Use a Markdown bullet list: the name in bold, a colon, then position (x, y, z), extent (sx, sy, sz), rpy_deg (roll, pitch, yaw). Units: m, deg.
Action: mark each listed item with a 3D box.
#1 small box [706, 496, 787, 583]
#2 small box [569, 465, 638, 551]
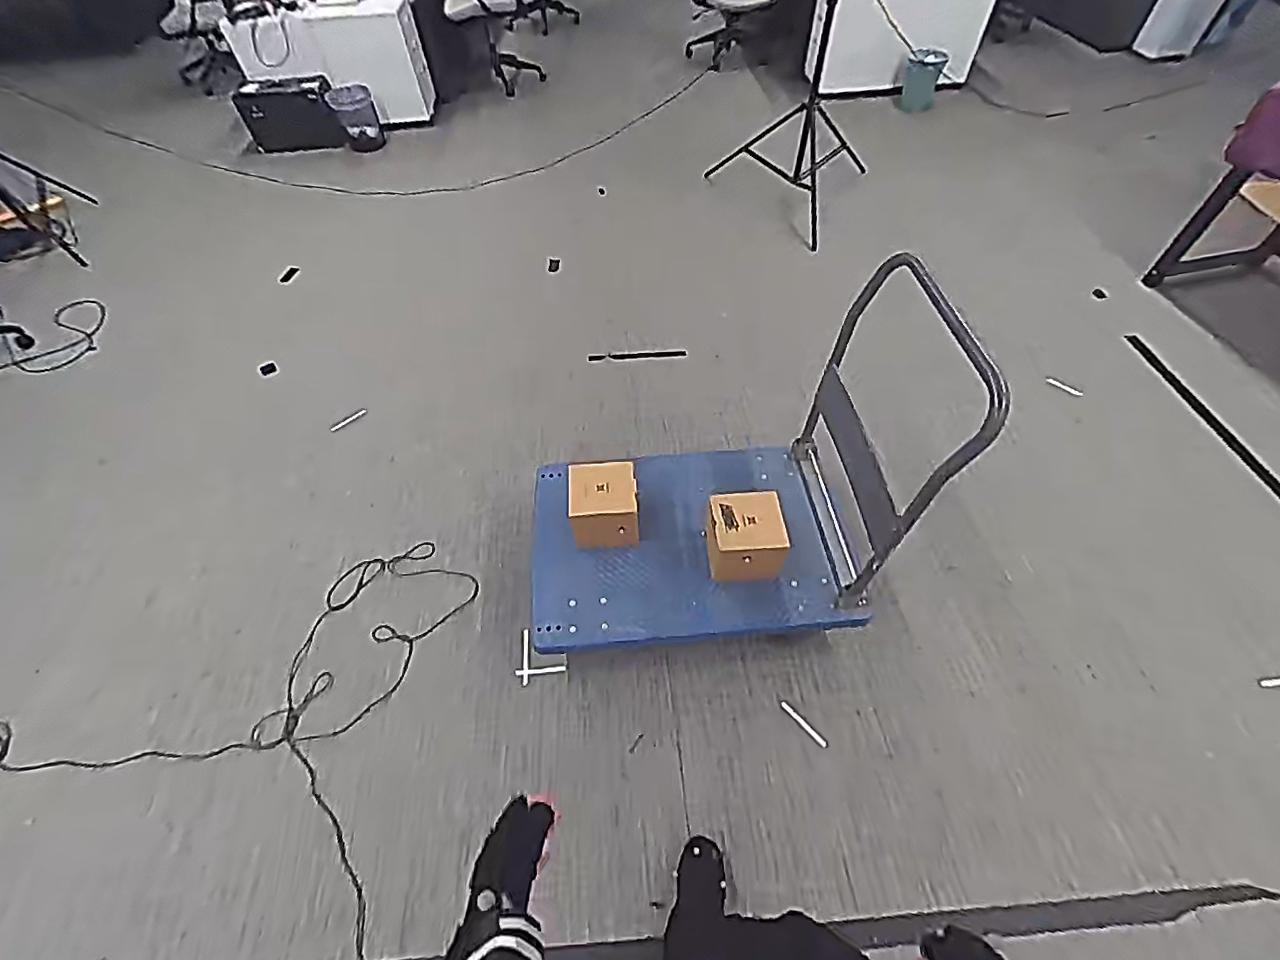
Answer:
- **small box**: position (0.266, 0.157, 1.400), extent (0.179, 0.176, 0.168), rpy_deg (-3, 53, -1)
- **small box**: position (-0.097, 0.079, 1.470), extent (0.179, 0.176, 0.168), rpy_deg (-5, 52, -1)
